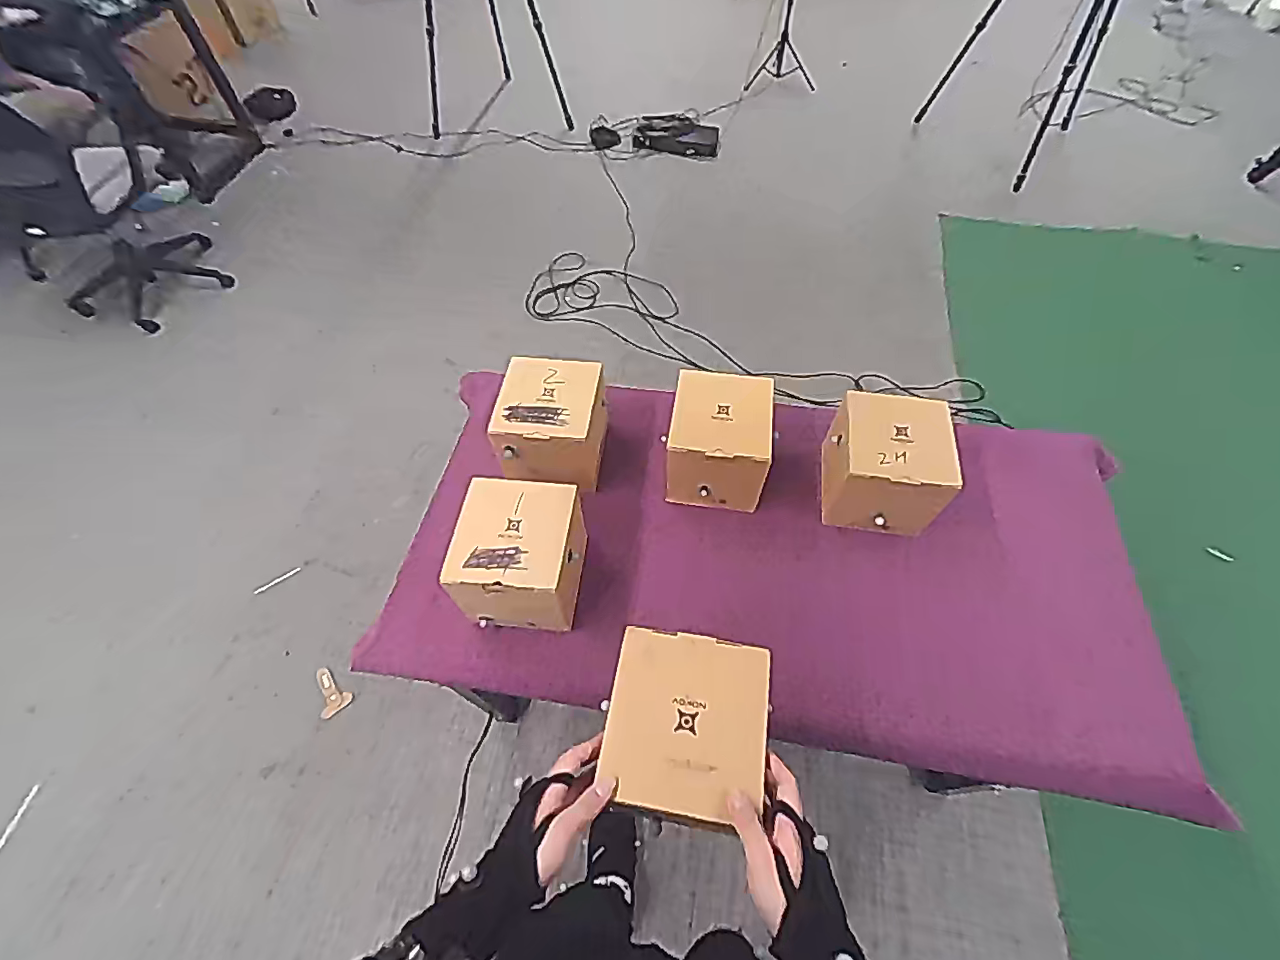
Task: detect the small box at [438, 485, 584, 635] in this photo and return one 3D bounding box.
[{"bbox_3d":[-0.187,0.130,0.850,0.168,0.176,0.179,4,55,4],"label":"small box"}]

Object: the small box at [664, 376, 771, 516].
[{"bbox_3d":[0.134,-0.058,0.966,0.168,0.176,0.179,6,59,6],"label":"small box"}]

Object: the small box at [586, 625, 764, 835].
[{"bbox_3d":[0.045,0.294,0.632,0.168,0.176,0.179,8,56,9],"label":"small box"}]

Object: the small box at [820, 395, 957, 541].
[{"bbox_3d":[0.411,-0.018,0.927,0.168,0.176,0.179,7,58,8],"label":"small box"}]
